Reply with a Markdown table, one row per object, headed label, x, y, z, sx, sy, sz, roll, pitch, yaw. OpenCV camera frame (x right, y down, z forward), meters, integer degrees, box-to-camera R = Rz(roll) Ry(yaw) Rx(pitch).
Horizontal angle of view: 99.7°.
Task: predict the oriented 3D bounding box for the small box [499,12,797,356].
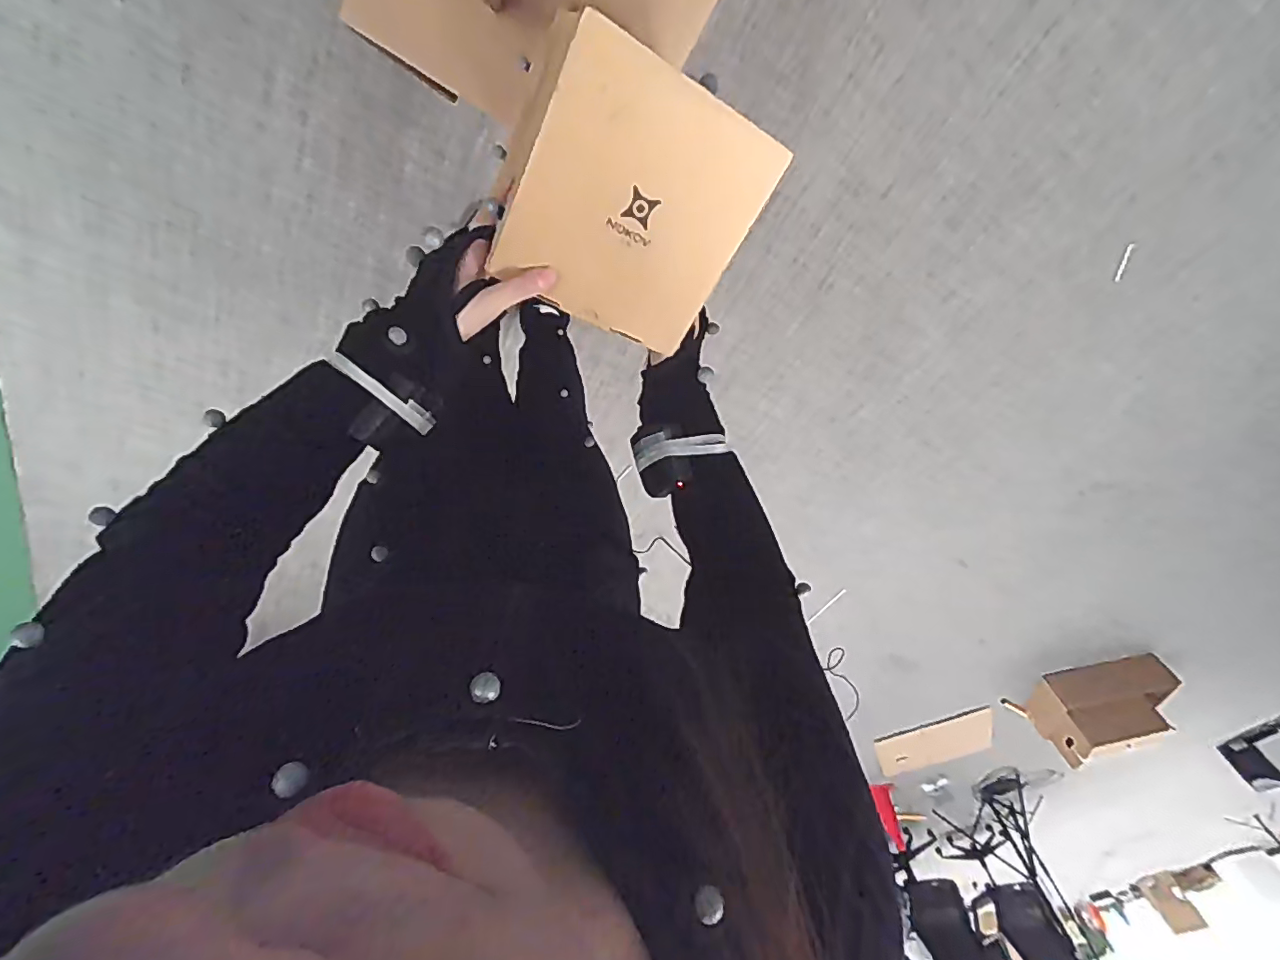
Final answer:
| label | x | y | z | sx | sy | sz | roll | pitch | yaw |
| --- | --- | --- | --- | --- | --- | --- | --- | --- | --- |
| small box | -0.009 | -0.242 | 0.453 | 0.168 | 0.176 | 0.179 | 18 | 124 | -24 |

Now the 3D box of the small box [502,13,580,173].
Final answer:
| label | x | y | z | sx | sy | sz | roll | pitch | yaw |
| --- | --- | --- | --- | --- | --- | --- | --- | --- | --- |
| small box | -0.066 | -0.465 | 0.706 | 0.179 | 0.176 | 0.168 | 18 | 123 | -24 |

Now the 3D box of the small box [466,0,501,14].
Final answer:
| label | x | y | z | sx | sy | sz | roll | pitch | yaw |
| --- | --- | --- | --- | --- | --- | --- | --- | --- | --- |
| small box | -0.197 | -0.625 | 0.549 | 0.168 | 0.176 | 0.179 | 20 | 121 | -24 |

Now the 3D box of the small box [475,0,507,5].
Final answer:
| label | x | y | z | sx | sy | sz | roll | pitch | yaw |
| --- | --- | --- | --- | --- | --- | --- | --- | --- | --- |
| small box | -0.169 | -0.518 | 0.425 | 0.179 | 0.176 | 0.168 | 20 | 123 | -23 |
